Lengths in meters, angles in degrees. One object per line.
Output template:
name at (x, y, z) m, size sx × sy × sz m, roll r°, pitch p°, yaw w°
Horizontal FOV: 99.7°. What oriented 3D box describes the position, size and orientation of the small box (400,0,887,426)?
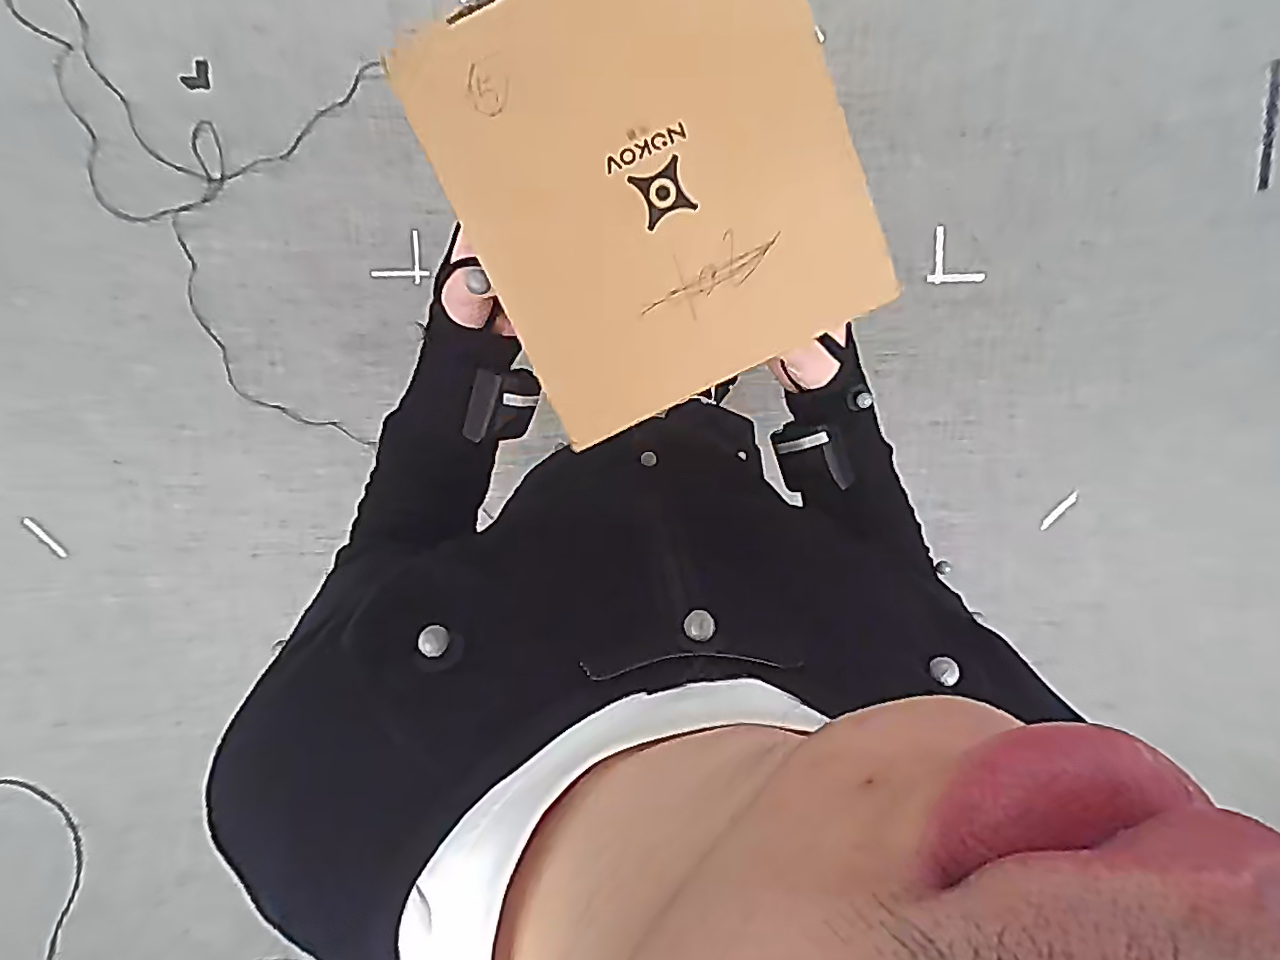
small box at (0.002, -0.150, 0.316) m, size 0.168 × 0.176 × 0.179 m, roll -27°, pitch 104°, yaw 2°
